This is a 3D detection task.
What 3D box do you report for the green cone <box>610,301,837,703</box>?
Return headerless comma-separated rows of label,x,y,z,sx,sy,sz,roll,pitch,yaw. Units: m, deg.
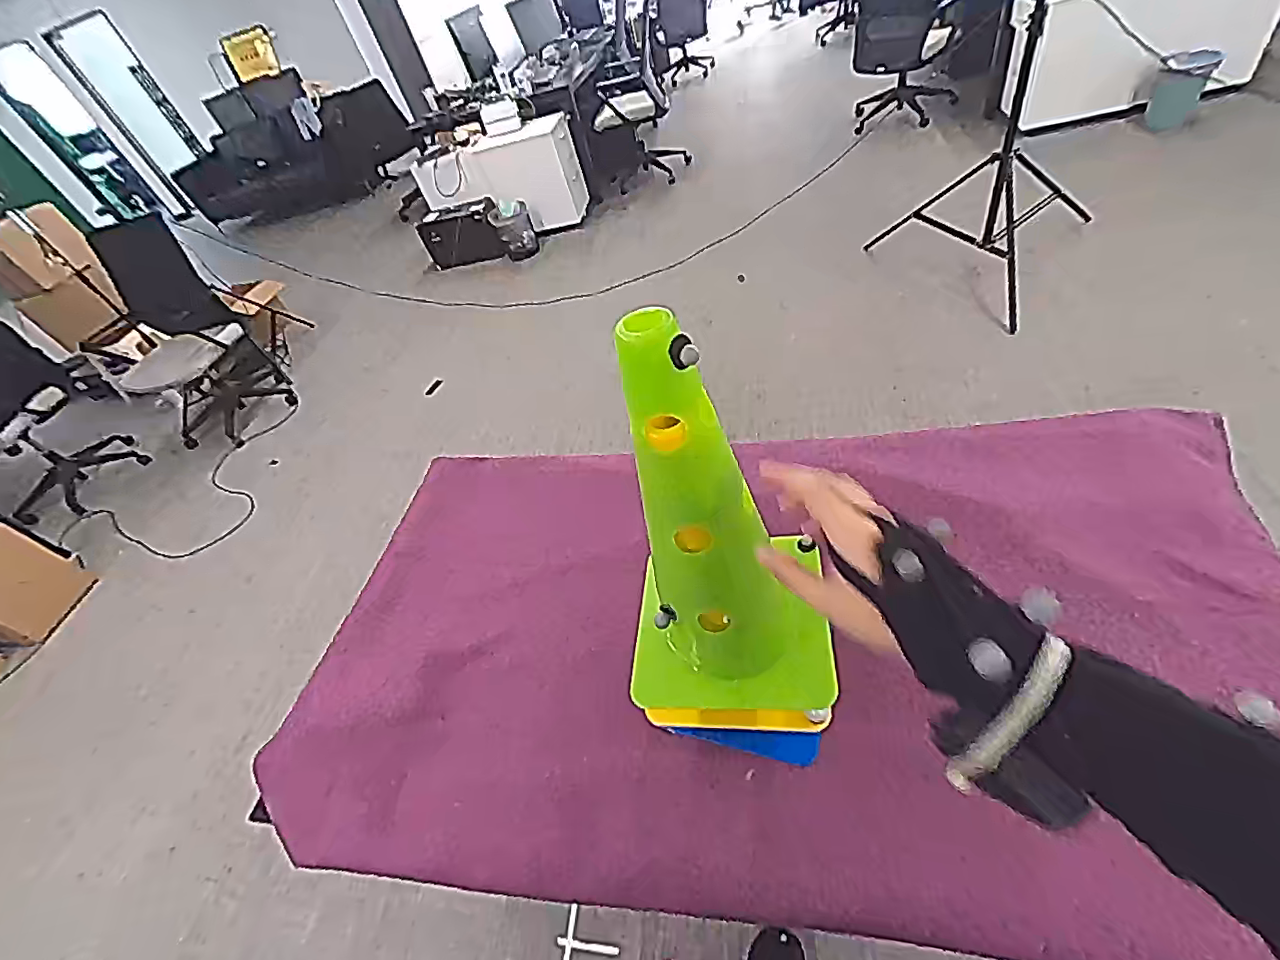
green cone,0.046,0.019,0.460,0.200,0.368,0.202,-7,44,16
